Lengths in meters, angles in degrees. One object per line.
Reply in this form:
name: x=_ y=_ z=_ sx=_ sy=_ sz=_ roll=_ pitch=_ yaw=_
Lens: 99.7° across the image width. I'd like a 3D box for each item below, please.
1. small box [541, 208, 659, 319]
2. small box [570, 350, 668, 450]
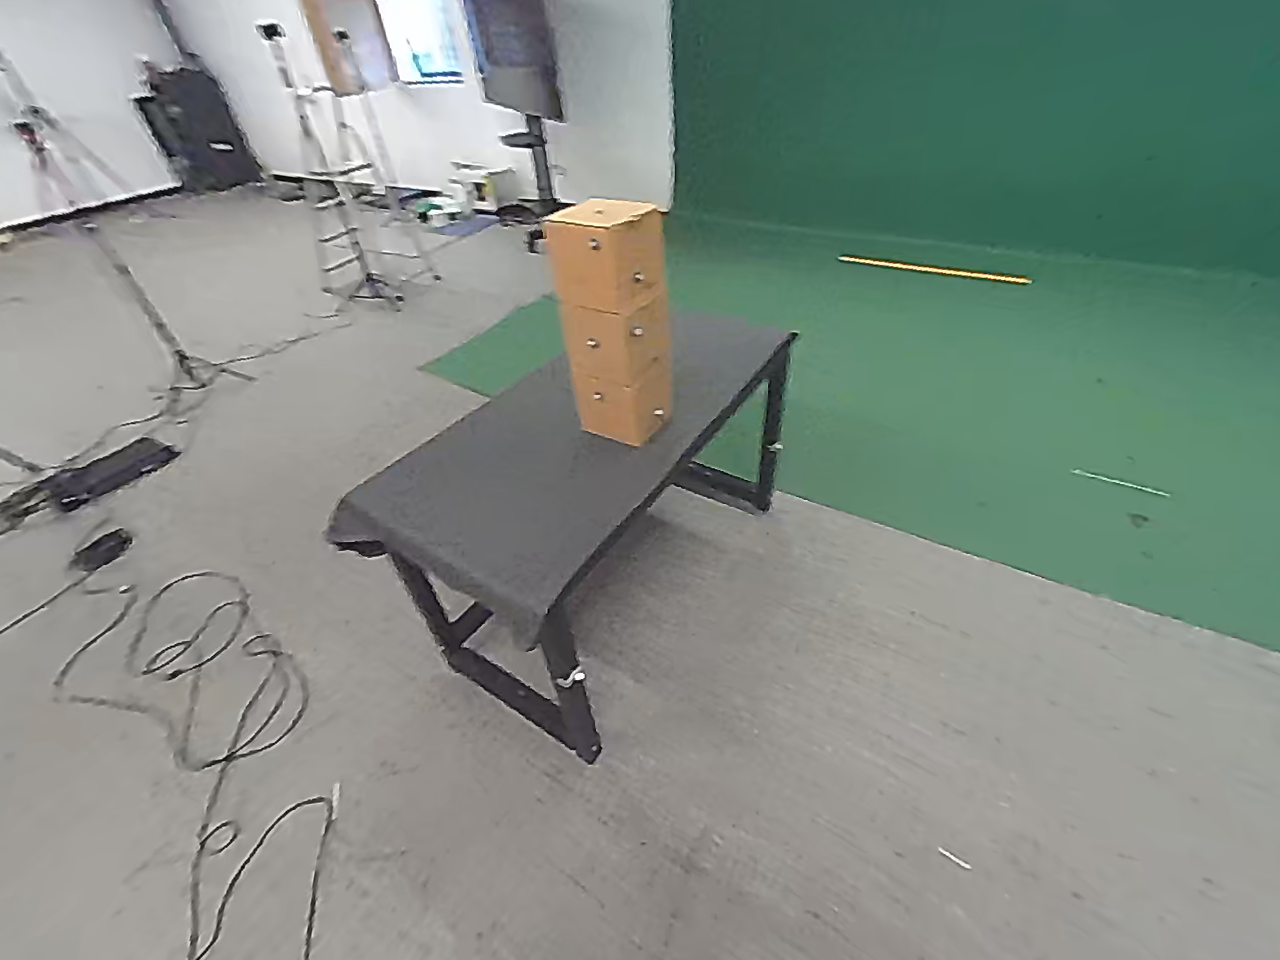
small box: x=-0.075 y=-0.449 z=1.121 sx=0.179 sy=0.176 sz=0.168 roll=22 pitch=47 yaw=29
small box: x=-0.045 y=-0.196 z=1.324 sx=0.179 sy=0.176 sz=0.168 roll=19 pitch=46 yaw=26
